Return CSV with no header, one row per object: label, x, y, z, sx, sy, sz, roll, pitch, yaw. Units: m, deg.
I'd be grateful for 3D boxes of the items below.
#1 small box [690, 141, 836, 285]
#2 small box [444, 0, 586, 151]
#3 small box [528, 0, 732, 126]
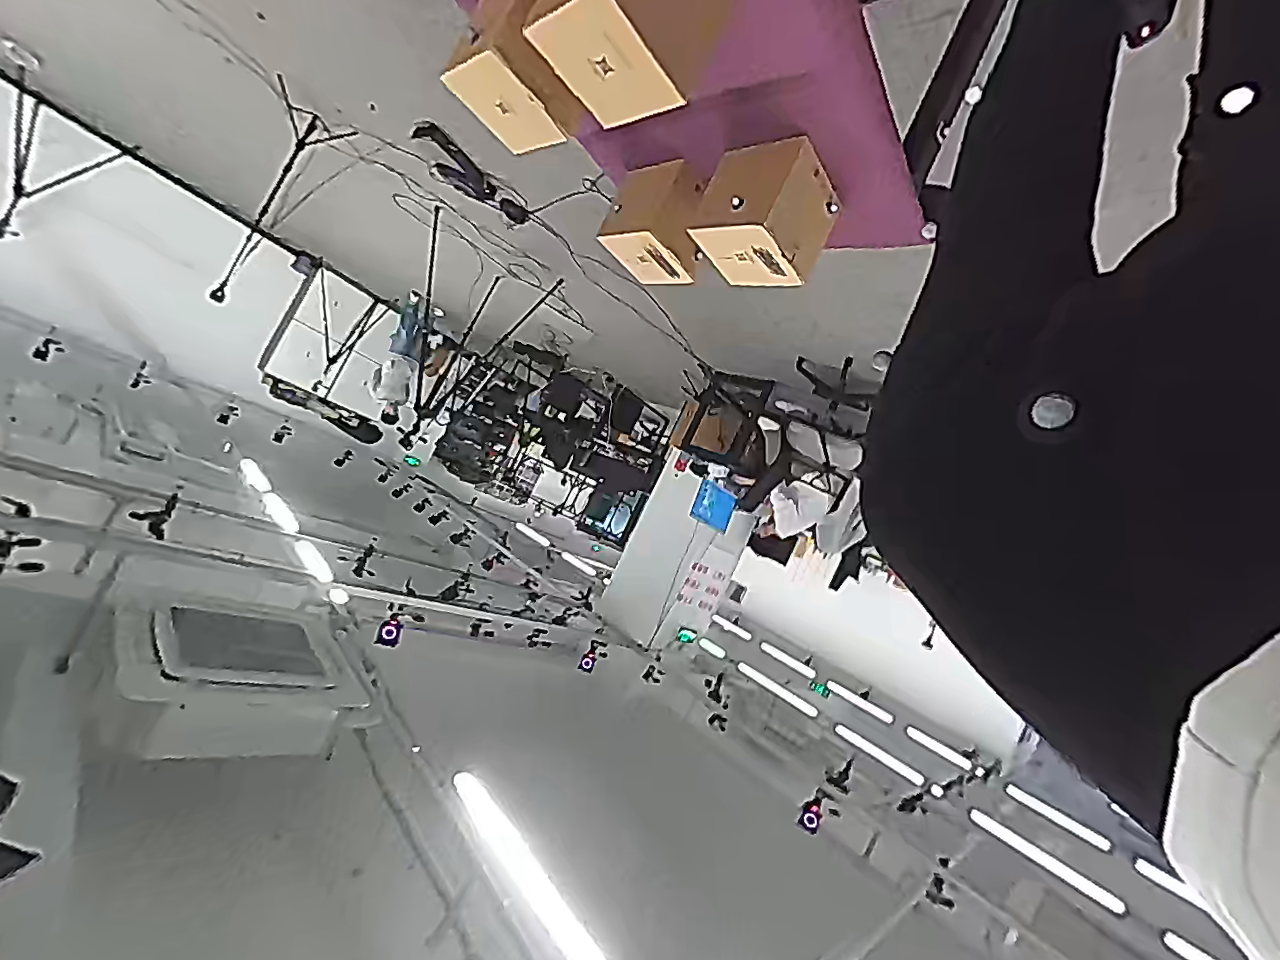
small box,0.229,-0.475,0.975,0.179,0.176,0.168,24,175,45
small box,-0.181,-0.684,0.886,0.179,0.176,0.168,21,173,43
small box,-0.007,-0.612,0.705,0.179,0.176,0.168,23,176,45
